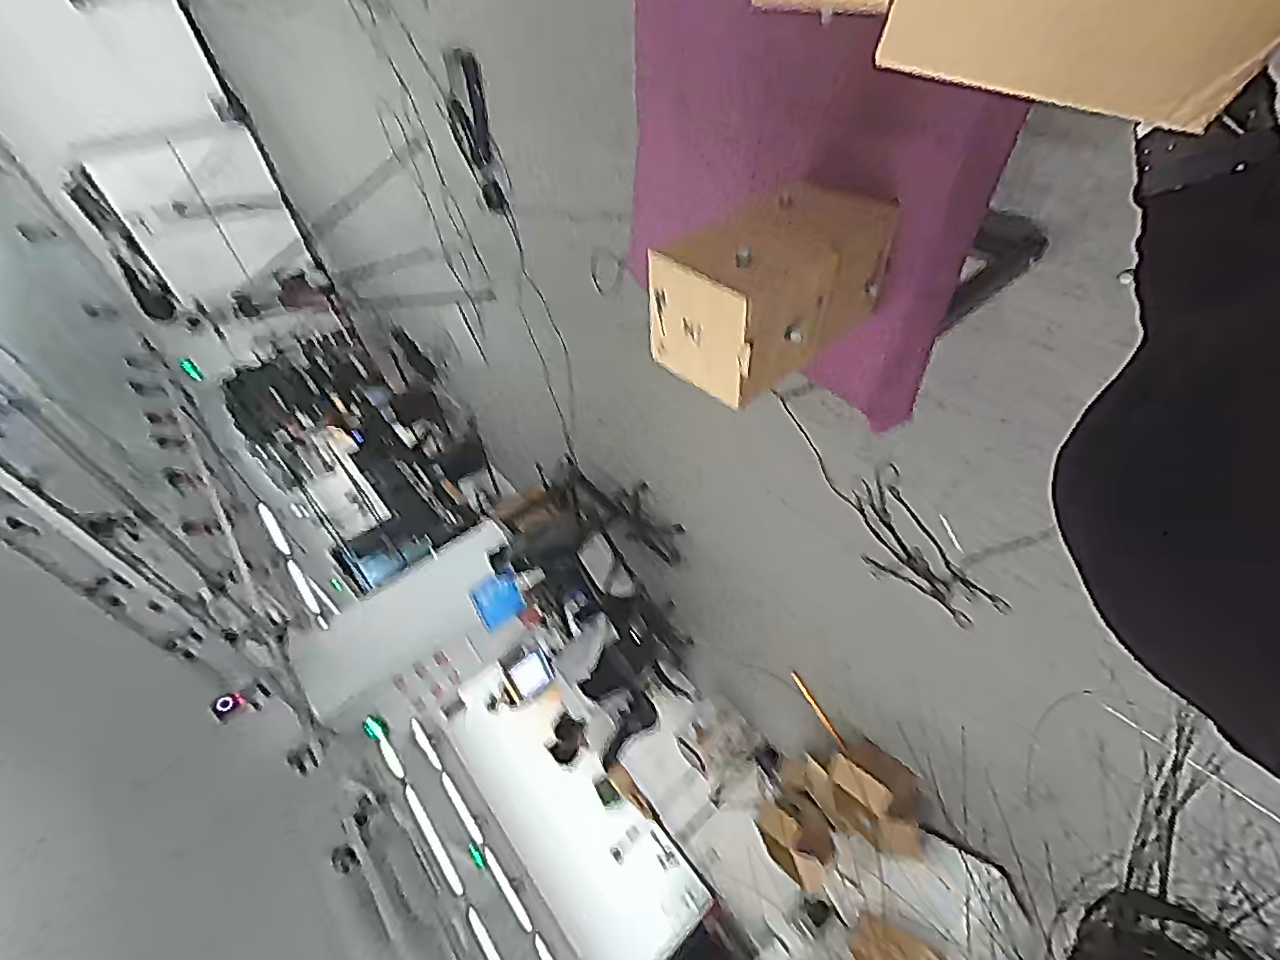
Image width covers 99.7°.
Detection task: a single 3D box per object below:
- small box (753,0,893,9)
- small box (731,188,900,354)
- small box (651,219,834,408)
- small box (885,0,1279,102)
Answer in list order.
[{"bbox_3d":[0.237,-0.589,0.534,0.179,0.176,0.168,40,150,35],"label":"small box"},{"bbox_3d":[0.252,-0.323,0.818,0.179,0.176,0.168,38,149,33],"label":"small box"},{"bbox_3d":[0.136,-0.235,0.743,0.179,0.176,0.168,38,149,32],"label":"small box"},{"bbox_3d":[0.236,-0.314,0.230,0.168,0.179,0.176,22,158,12],"label":"small box"}]
